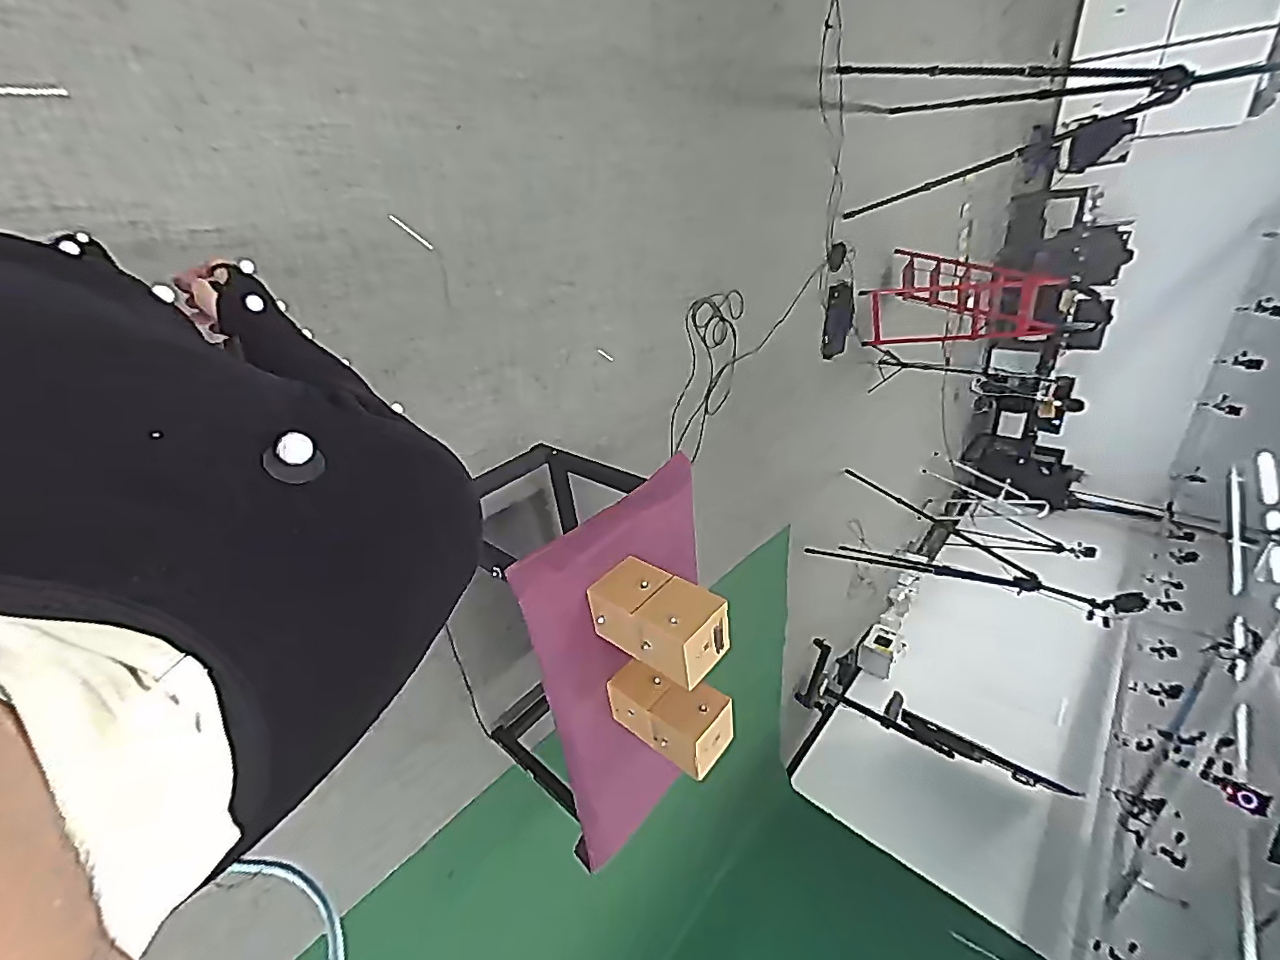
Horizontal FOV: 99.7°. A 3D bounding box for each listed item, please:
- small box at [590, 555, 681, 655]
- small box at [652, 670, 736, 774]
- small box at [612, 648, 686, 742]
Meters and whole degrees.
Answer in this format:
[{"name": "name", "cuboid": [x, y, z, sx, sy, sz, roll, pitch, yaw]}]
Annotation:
[{"name": "small box", "cuboid": [-0.010, 0.331, 1.474, 0.179, 0.176, 0.168, -34, 128, -37]}, {"name": "small box", "cuboid": [0.156, 0.682, 1.548, 0.179, 0.176, 0.168, -33, 127, -39]}, {"name": "small box", "cuboid": [0.031, 0.645, 1.647, 0.179, 0.176, 0.168, -35, 128, -38]}]
